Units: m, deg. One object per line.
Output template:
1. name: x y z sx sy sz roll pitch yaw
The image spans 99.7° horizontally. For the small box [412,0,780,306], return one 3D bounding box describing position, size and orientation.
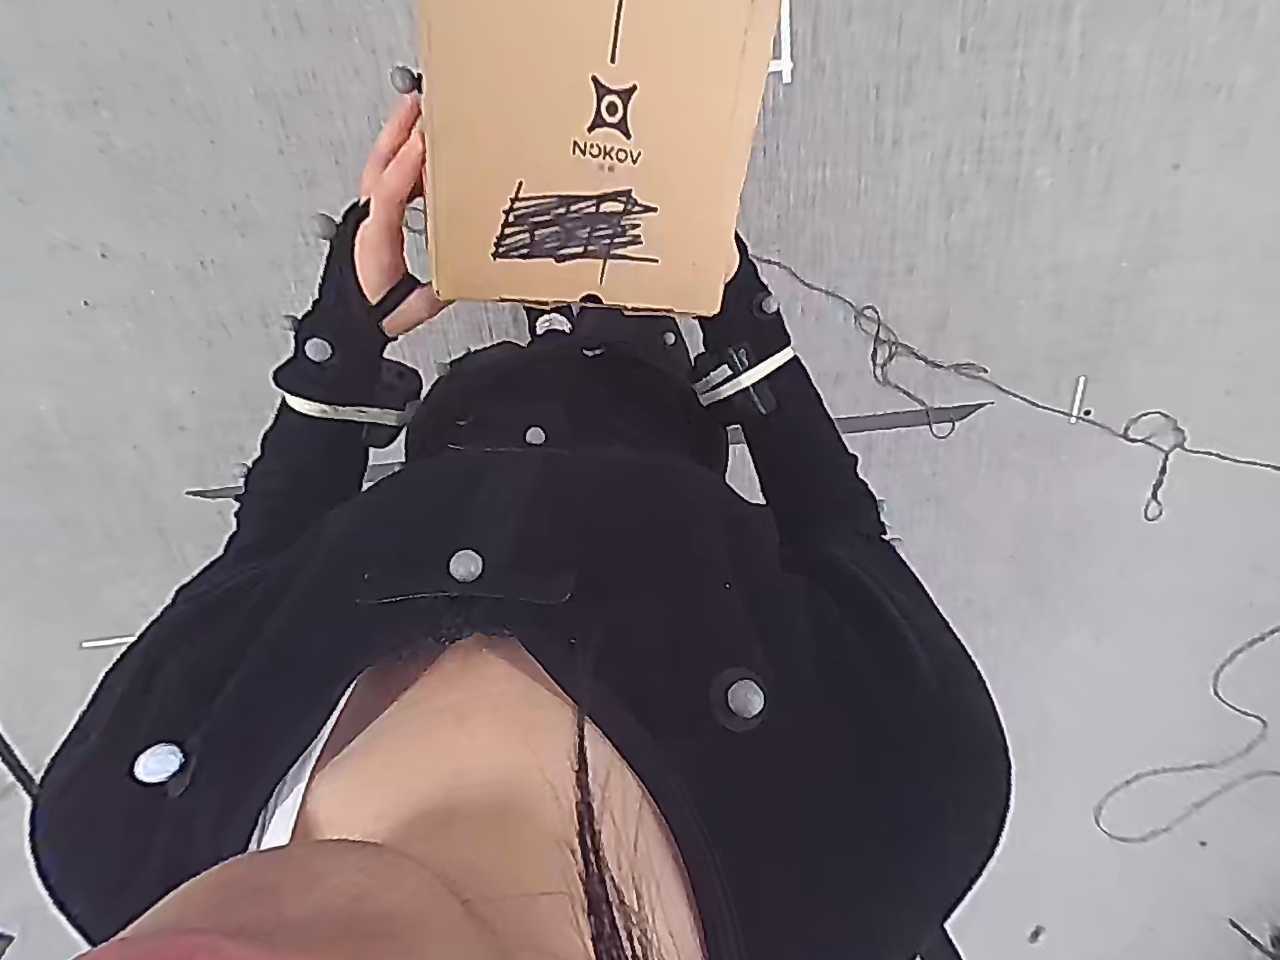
1. small box: -0.045 -0.218 0.323 0.168 0.176 0.179 -3 121 -22
